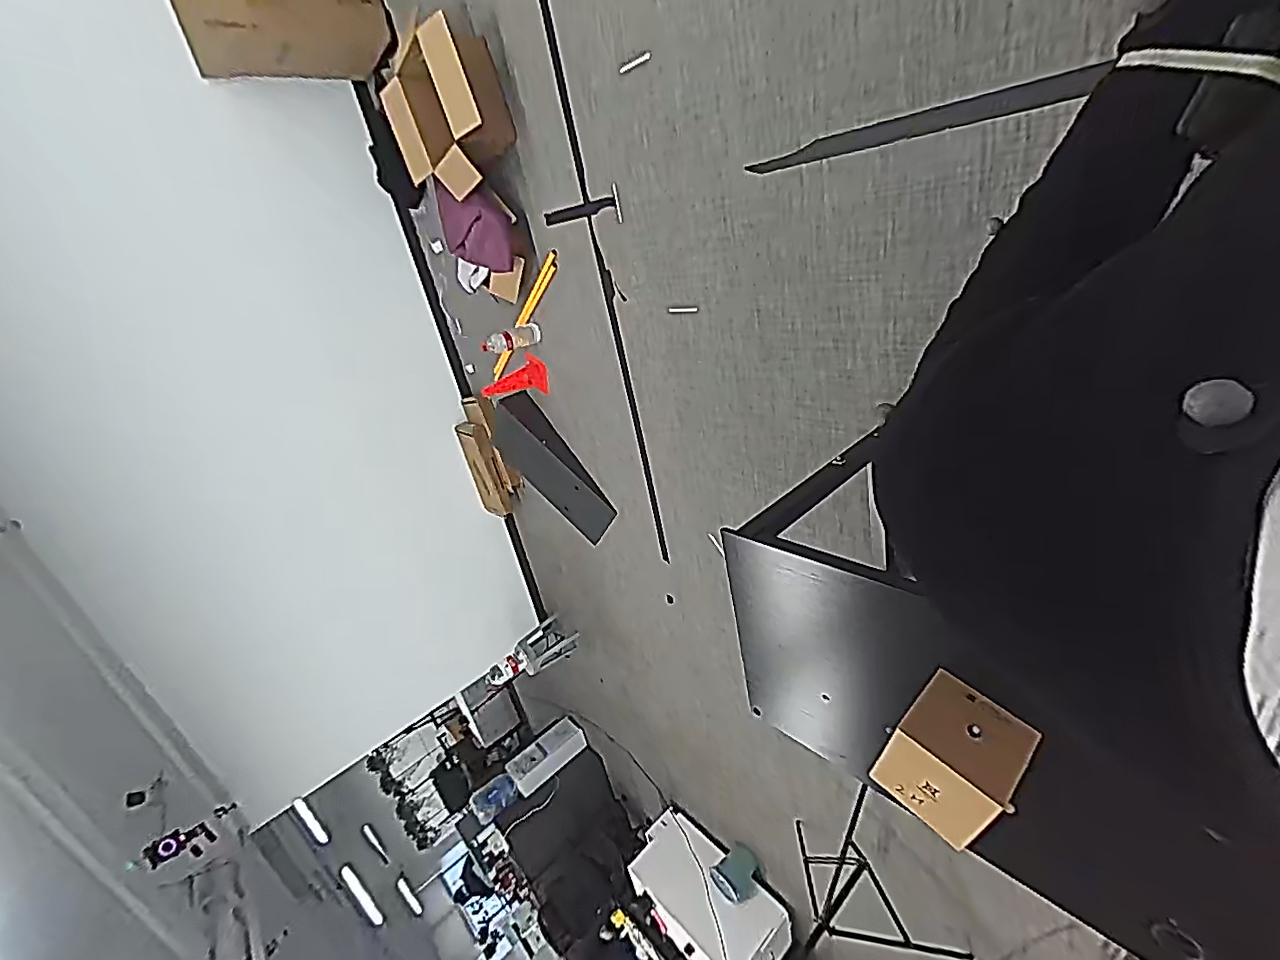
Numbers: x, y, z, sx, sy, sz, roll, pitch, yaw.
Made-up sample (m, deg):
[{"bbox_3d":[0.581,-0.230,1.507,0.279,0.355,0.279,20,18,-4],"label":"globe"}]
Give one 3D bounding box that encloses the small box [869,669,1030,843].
[{"bbox_3d":[0.532,0.466,0.931,0.168,0.176,0.179,35,140,35],"label":"small box"}]
